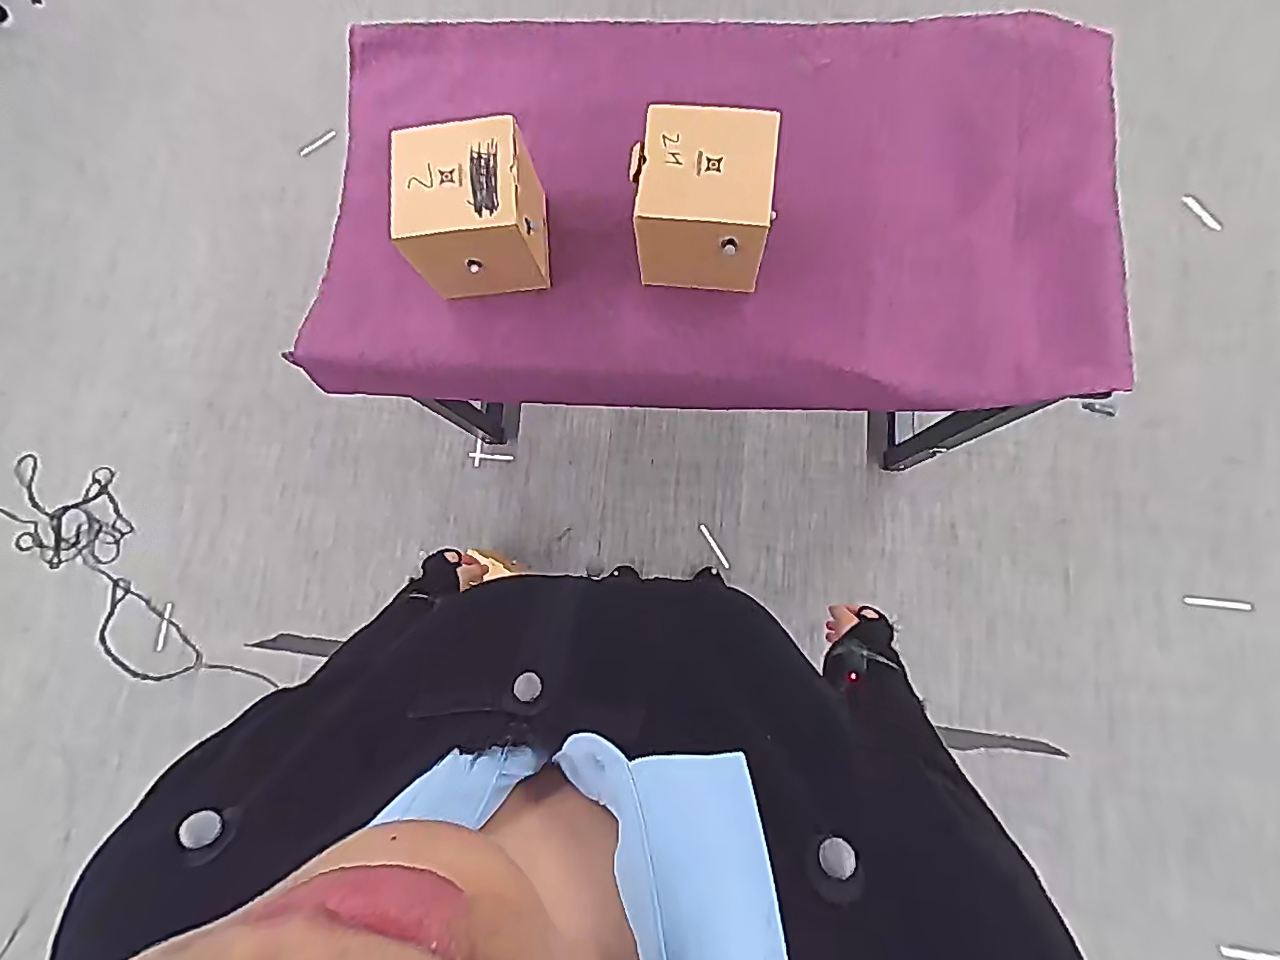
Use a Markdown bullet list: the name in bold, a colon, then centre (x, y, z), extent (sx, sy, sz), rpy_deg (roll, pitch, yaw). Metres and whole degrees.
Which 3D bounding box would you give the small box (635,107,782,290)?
- **small box**: centre (0.095, -0.391, 0.775), extent (0.179, 0.176, 0.168), rpy_deg (6, 81, 6)

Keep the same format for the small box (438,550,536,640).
- **small box**: centre (-0.399, 0.303, 1.449), extent (0.168, 0.176, 0.179), rpy_deg (27, 84, 7)
